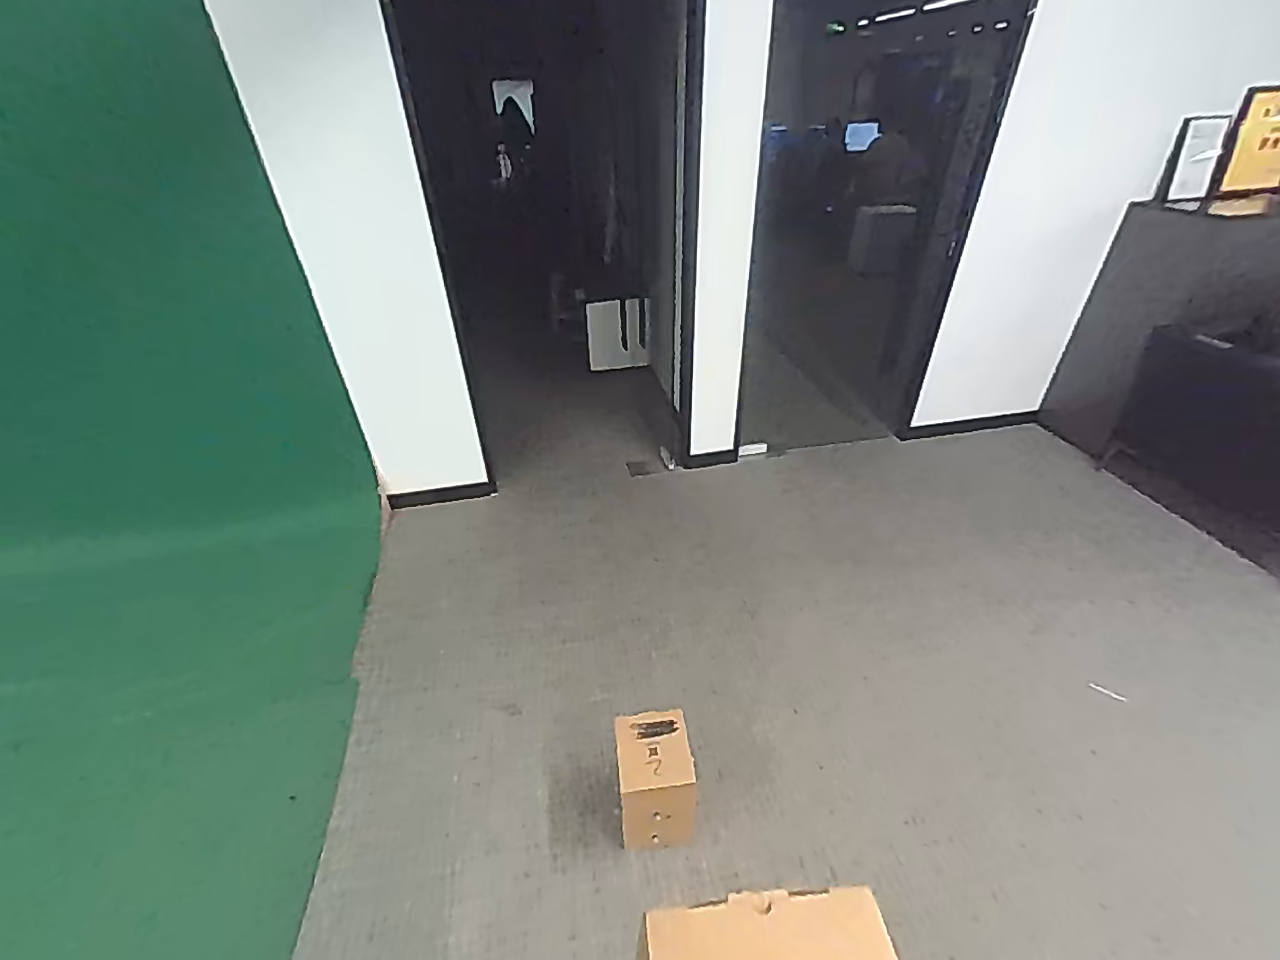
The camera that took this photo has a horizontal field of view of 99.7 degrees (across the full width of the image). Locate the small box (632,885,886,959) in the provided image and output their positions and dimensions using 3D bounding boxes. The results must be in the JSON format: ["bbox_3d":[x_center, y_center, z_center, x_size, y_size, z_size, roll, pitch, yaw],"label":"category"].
[{"bbox_3d":[0.083,0.411,0.364,0.168,0.176,0.179,-1,37,-7],"label":"small box"}]

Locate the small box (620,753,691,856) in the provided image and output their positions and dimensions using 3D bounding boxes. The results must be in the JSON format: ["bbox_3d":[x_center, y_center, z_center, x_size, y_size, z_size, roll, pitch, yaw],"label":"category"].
[{"bbox_3d":[0.037,0.818,1.357,0.168,0.176,0.179,-3,35,-2],"label":"small box"}]
